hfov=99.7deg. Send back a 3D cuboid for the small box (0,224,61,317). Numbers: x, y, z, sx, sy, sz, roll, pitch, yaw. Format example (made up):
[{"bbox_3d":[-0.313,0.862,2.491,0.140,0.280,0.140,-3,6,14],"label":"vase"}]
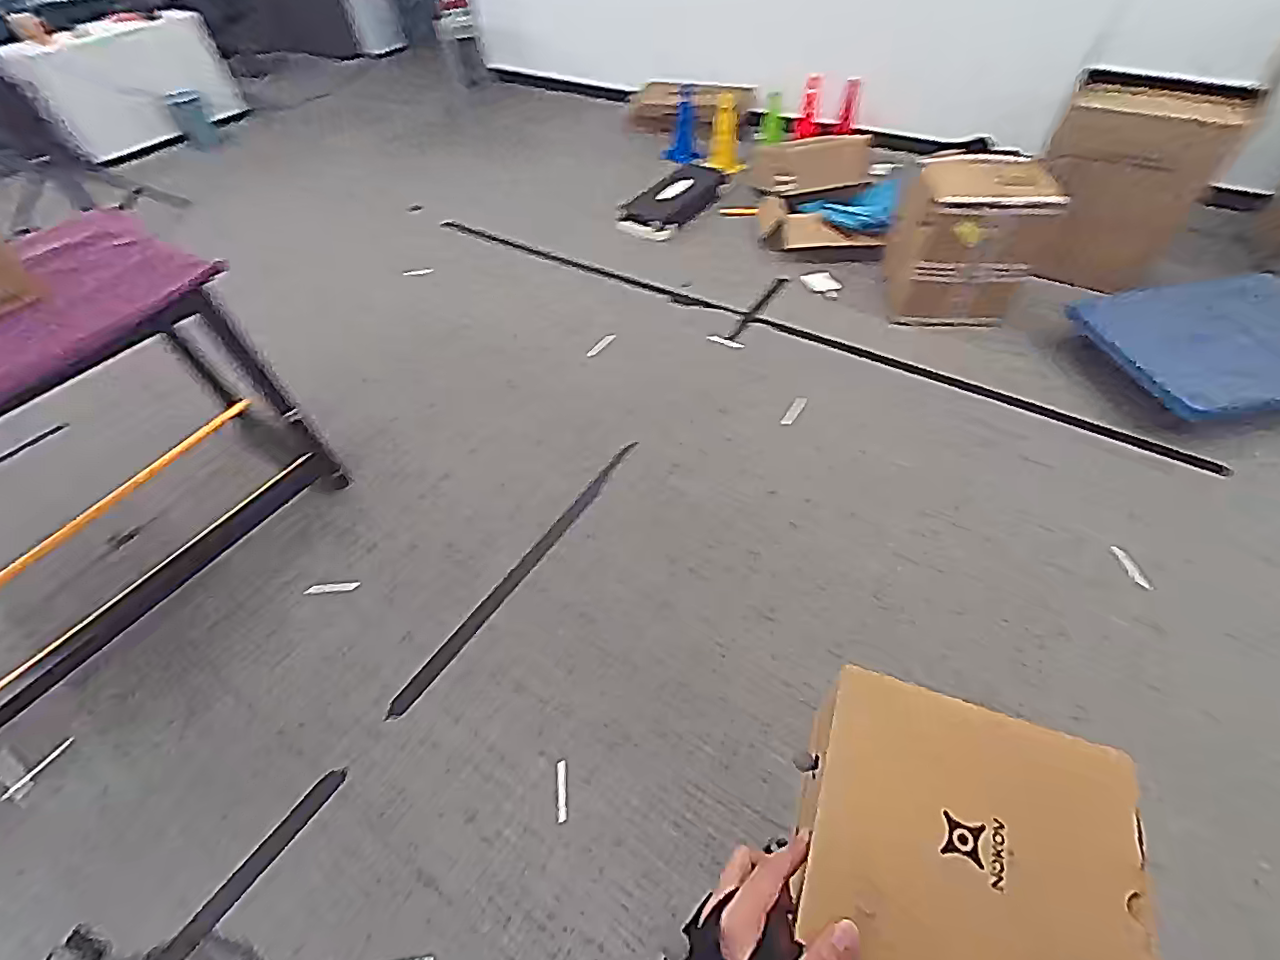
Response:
[{"bbox_3d":[-1.388,-0.454,1.124,0.179,0.176,0.168,30,59,23],"label":"small box"}]

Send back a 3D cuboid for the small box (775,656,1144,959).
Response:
[{"bbox_3d":[0.200,0.252,0.384,0.179,0.176,0.168,13,58,17],"label":"small box"}]
